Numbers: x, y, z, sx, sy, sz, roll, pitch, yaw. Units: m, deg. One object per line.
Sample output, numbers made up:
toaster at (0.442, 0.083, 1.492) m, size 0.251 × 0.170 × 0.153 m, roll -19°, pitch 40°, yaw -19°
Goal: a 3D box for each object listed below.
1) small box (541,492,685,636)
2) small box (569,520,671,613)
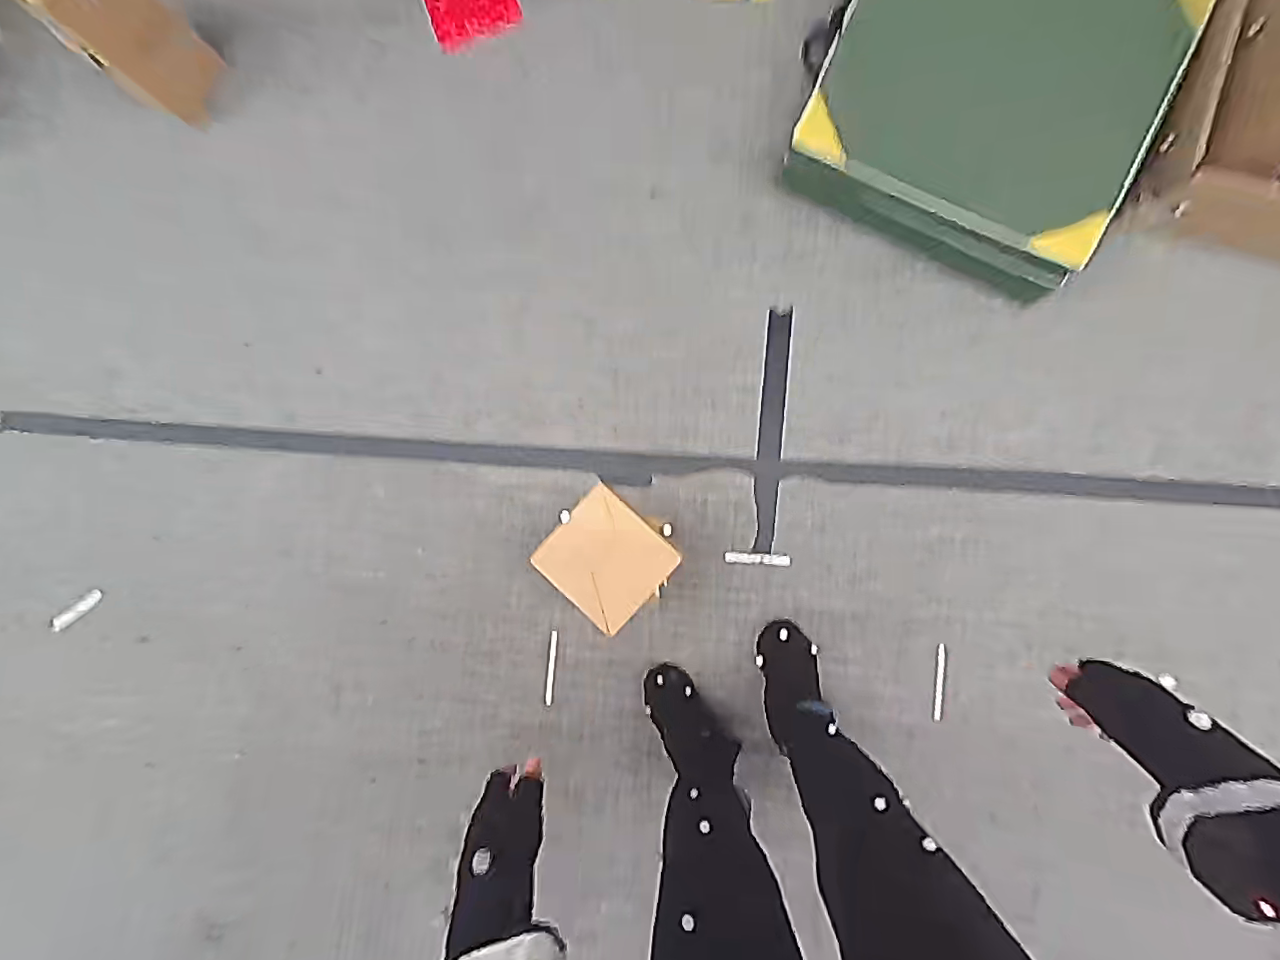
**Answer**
small box at (-0.041, 0.137, 0.914) m, size 0.179 × 0.176 × 0.168 m, roll 41°, pitch 89°, yaw 6°
small box at (-0.032, 0.159, 1.081) m, size 0.179 × 0.176 × 0.168 m, roll 6°, pitch 86°, yaw 5°
